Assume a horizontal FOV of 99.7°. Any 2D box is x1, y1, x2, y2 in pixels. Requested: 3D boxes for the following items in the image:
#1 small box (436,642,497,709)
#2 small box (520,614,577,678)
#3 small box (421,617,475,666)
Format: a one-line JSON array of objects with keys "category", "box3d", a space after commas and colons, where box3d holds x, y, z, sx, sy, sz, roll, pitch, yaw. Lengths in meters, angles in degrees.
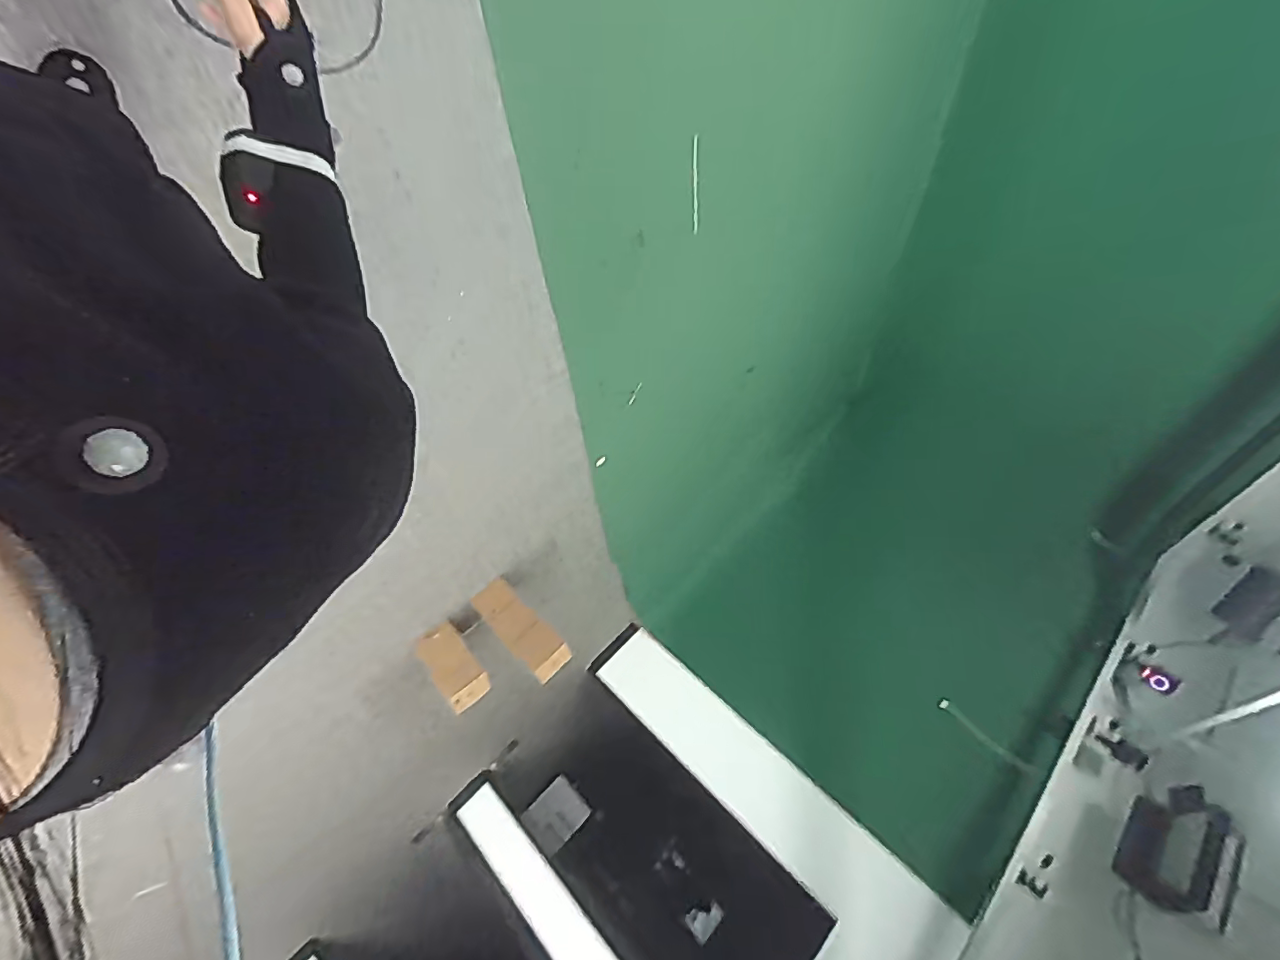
[{"category": "small box", "box3d": [-0.752, 0.841, 2.342, 0.179, 0.176, 0.168, -36, 145, -32]}, {"category": "small box", "box3d": [-0.409, 0.729, 2.386, 0.179, 0.176, 0.168, -42, 148, -23]}, {"category": "small box", "box3d": [-0.857, 0.752, 2.433, 0.168, 0.176, 0.179, -35, 145, -32]}]
